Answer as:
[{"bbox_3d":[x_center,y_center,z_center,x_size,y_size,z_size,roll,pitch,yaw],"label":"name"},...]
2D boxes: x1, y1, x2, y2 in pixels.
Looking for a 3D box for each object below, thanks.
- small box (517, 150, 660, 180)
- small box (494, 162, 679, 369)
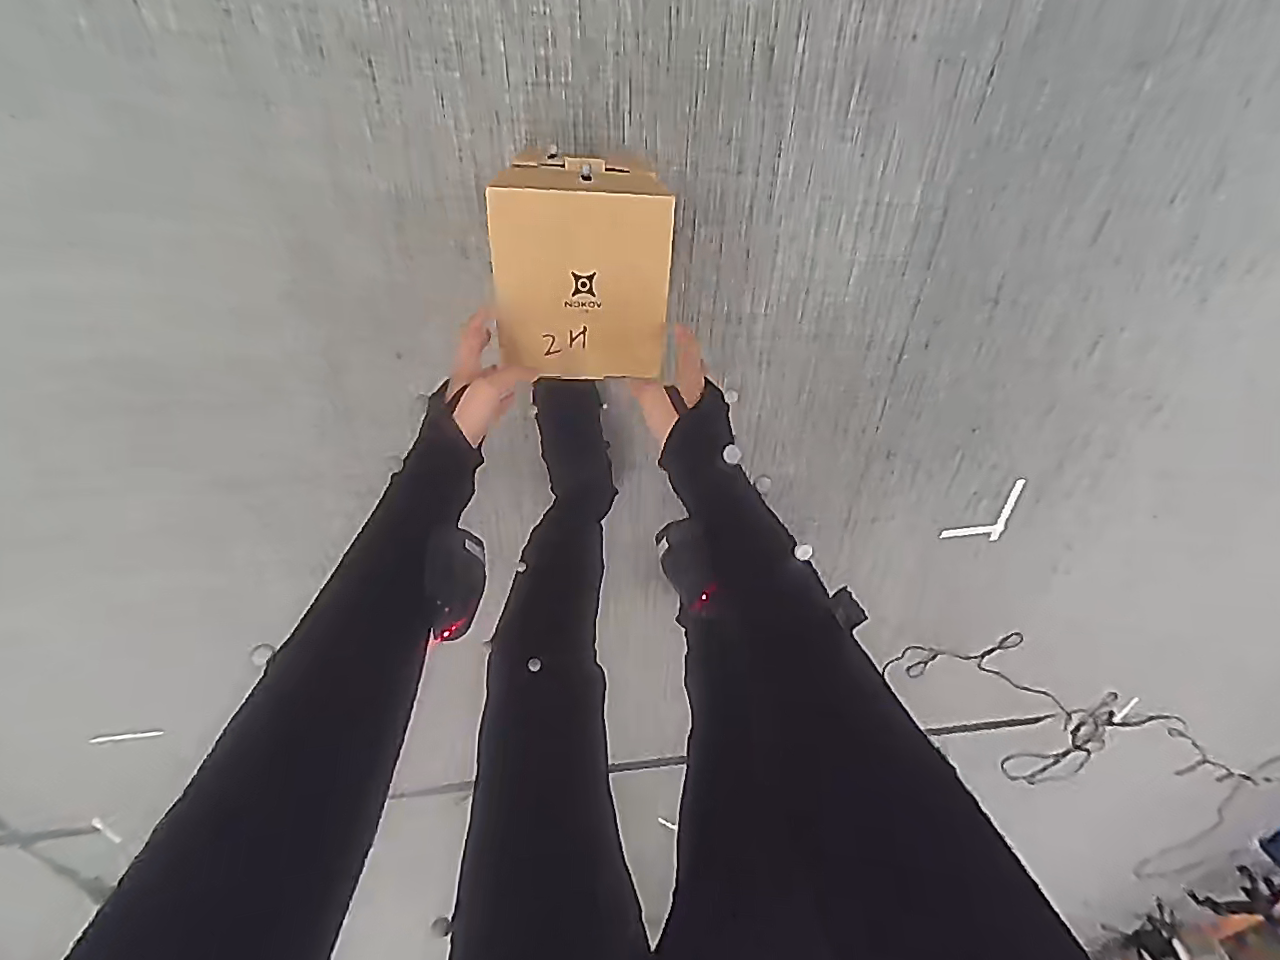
[{"bbox_3d":[-0.074,-0.328,0.715,0.168,0.176,0.179,0,123,-8],"label":"small box"},{"bbox_3d":[-0.061,-0.234,0.581,0.168,0.176,0.179,0,124,-7],"label":"small box"}]
